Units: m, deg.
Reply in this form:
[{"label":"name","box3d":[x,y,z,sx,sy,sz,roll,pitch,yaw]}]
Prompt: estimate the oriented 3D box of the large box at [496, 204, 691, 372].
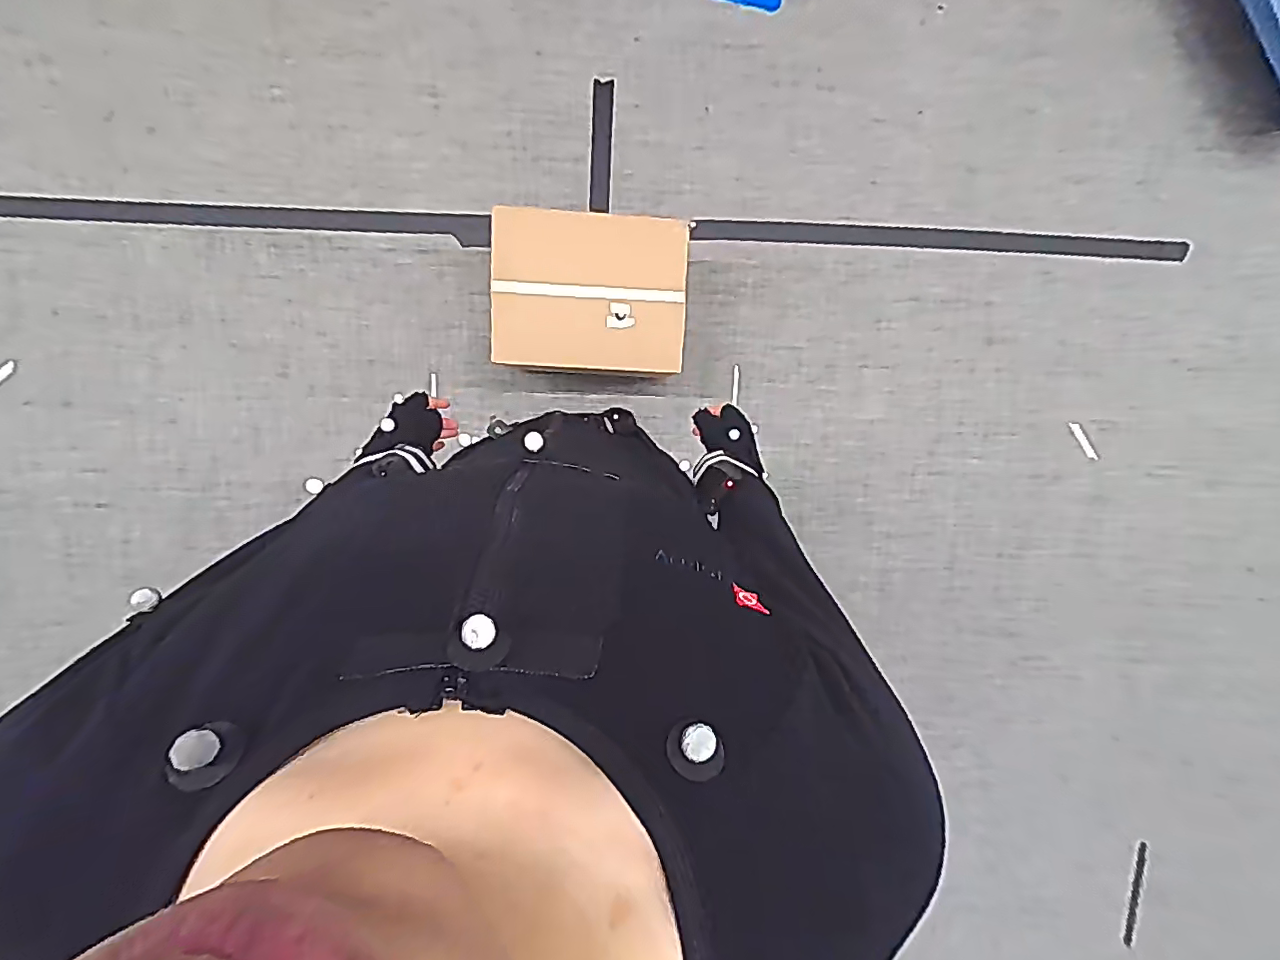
[{"label":"large box","box3d":[-0.110,-0.423,1.272,0.408,0.320,0.320,2,100,-5]}]
